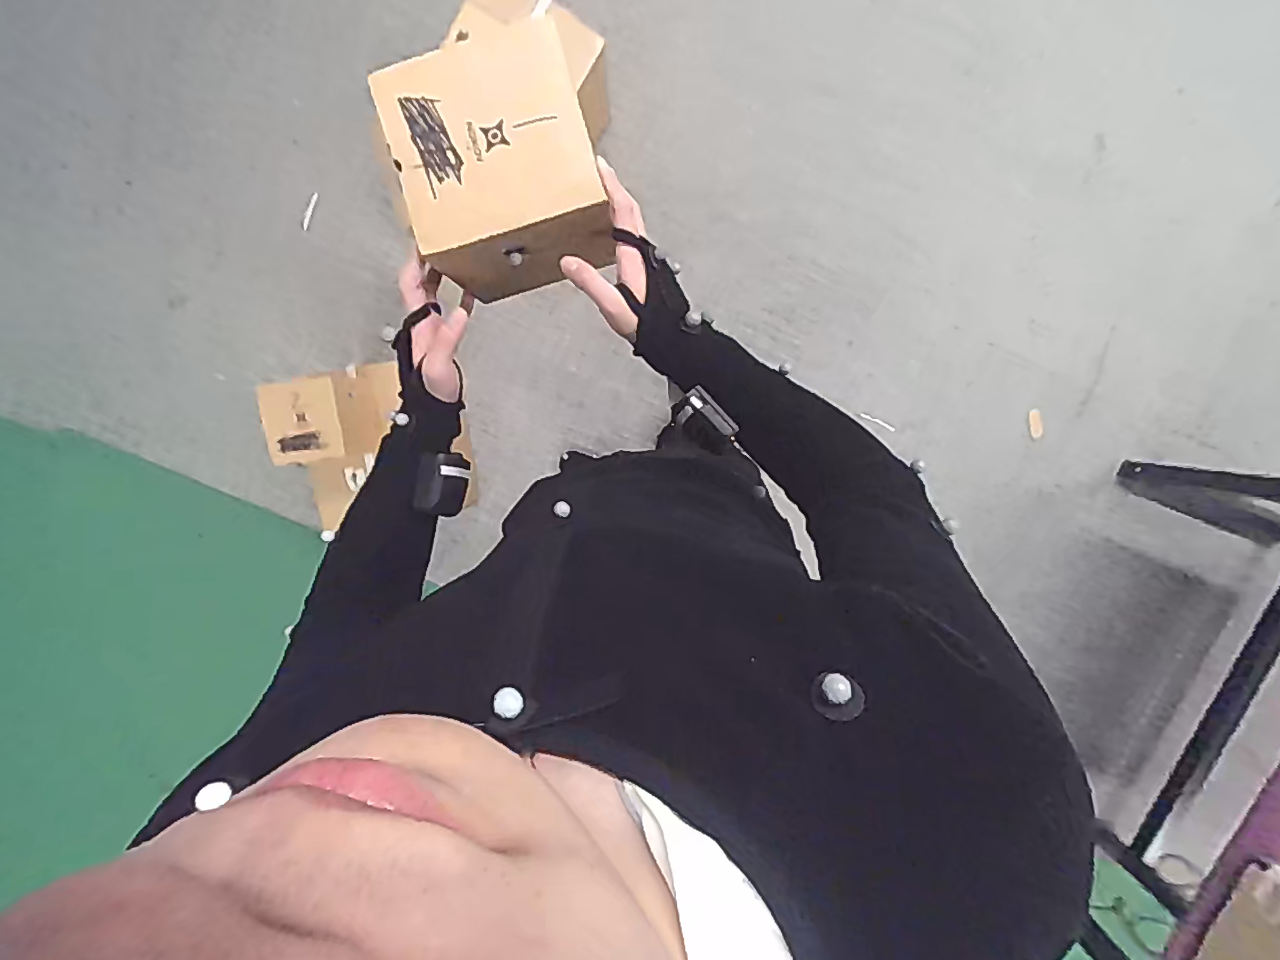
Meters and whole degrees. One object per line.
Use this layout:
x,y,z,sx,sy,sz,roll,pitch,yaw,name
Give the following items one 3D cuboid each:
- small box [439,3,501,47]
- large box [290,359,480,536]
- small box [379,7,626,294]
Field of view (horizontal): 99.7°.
-0.309,-0.815,1.128,0.179,0.176,0.168,29,96,-6,small box
-0.663,-0.097,1.472,0.320,0.320,0.408,-9,99,2,large box
-0.122,-0.309,0.551,0.179,0.176,0.168,-16,94,3,small box
